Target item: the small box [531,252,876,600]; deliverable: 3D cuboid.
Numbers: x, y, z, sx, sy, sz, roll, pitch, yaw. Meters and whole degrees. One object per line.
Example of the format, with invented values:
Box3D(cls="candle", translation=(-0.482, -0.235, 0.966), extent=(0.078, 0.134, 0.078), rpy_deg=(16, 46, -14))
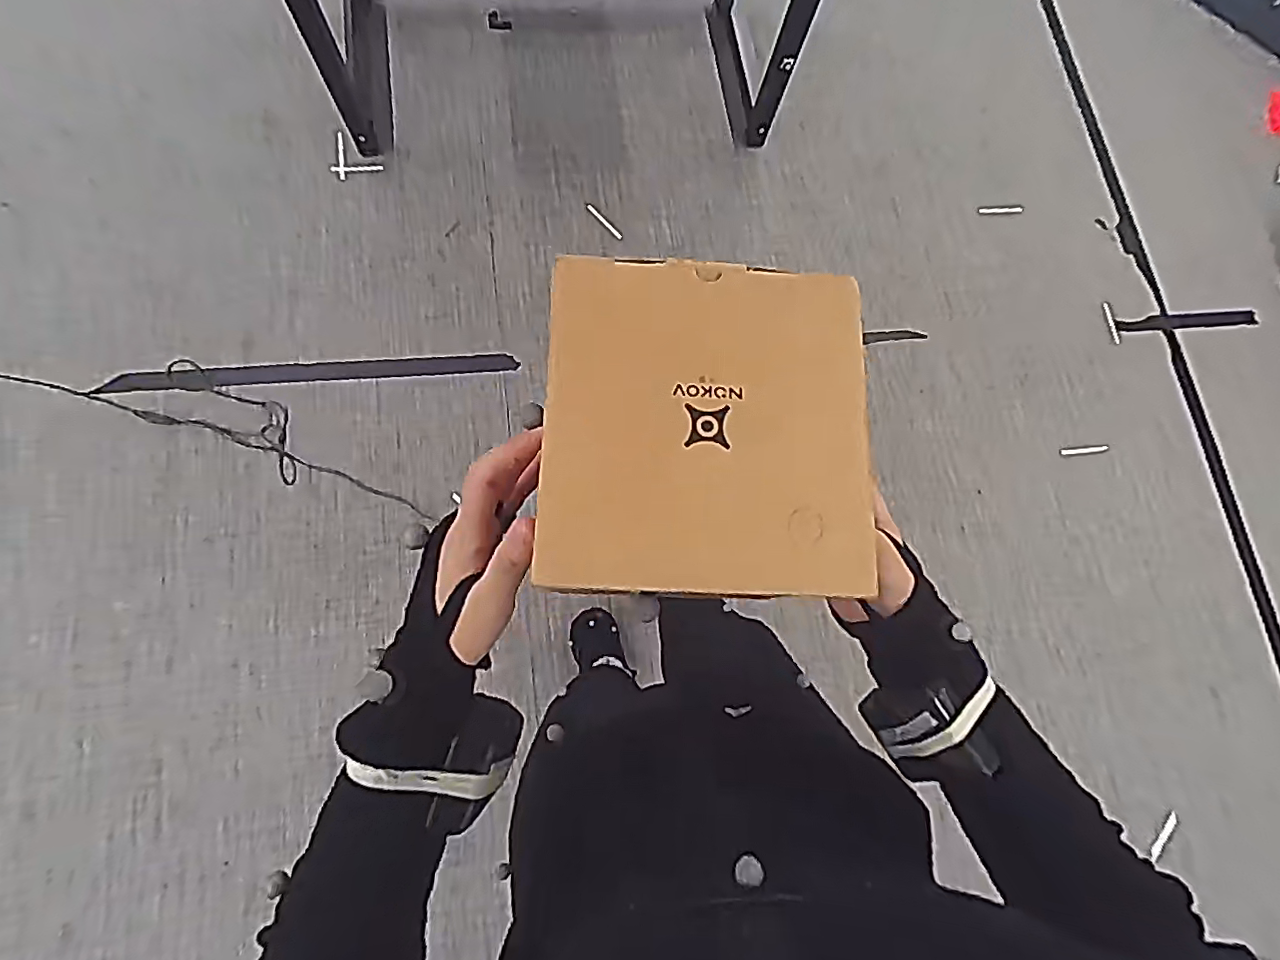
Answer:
Box3D(cls="small box", translation=(0.029, -0.015, 0.348), extent=(0.168, 0.176, 0.179), rpy_deg=(3, 76, -4))
